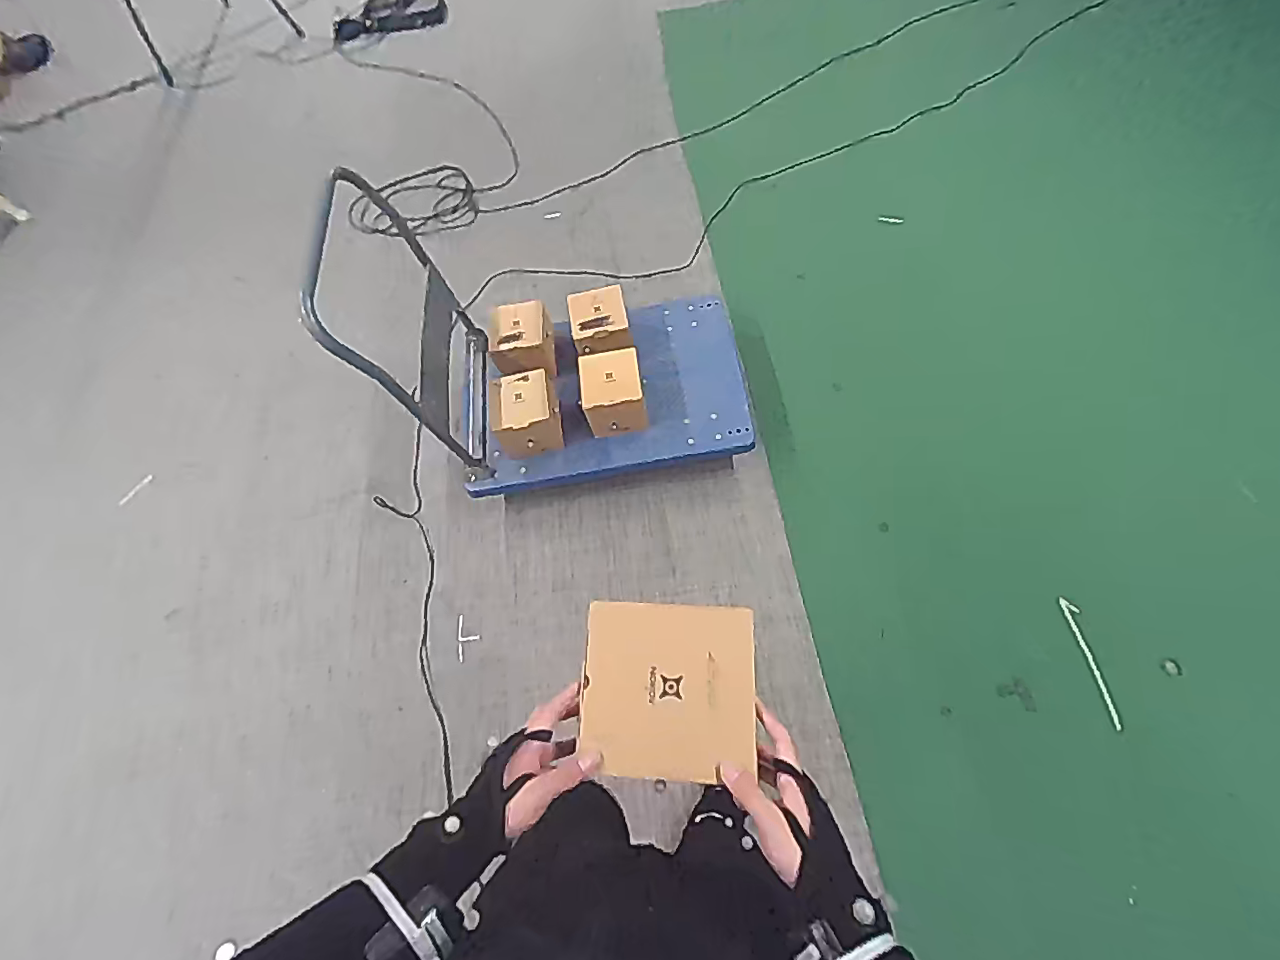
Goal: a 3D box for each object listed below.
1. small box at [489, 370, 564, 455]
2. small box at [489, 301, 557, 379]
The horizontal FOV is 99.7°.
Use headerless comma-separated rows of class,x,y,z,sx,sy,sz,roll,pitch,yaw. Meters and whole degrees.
small box,-0.323,-0.186,1.559,0.168,0.176,0.179,-11,65,2
small box,-0.355,-0.421,1.673,0.168,0.176,0.179,-7,64,4
